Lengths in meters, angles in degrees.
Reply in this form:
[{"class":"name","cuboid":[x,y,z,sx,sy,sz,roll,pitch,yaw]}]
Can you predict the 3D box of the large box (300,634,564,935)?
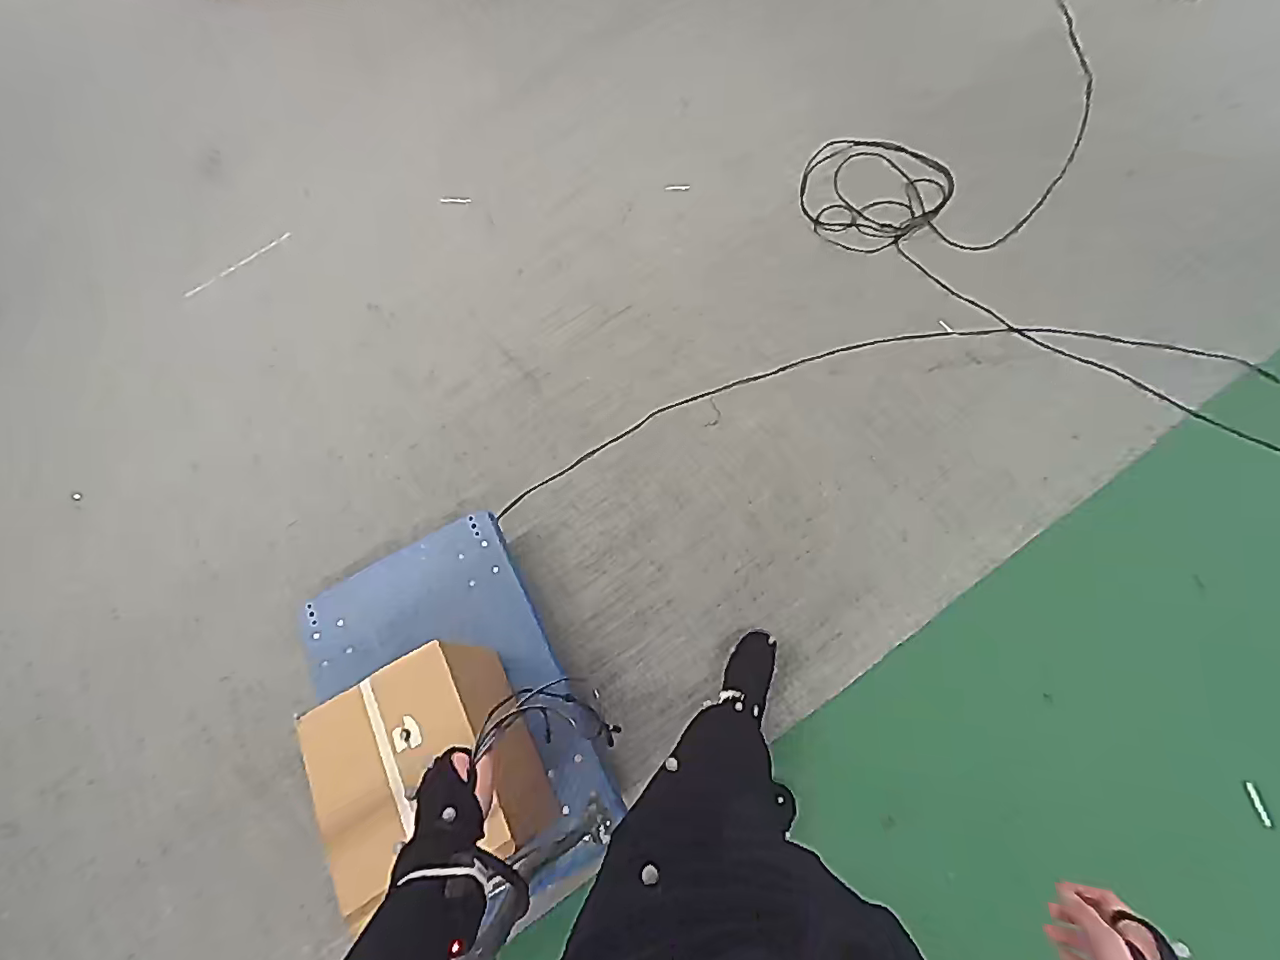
[{"class":"large box","cuboid":[-0.411,0.585,1.120,0.320,0.320,0.408,-30,68,-4]}]
